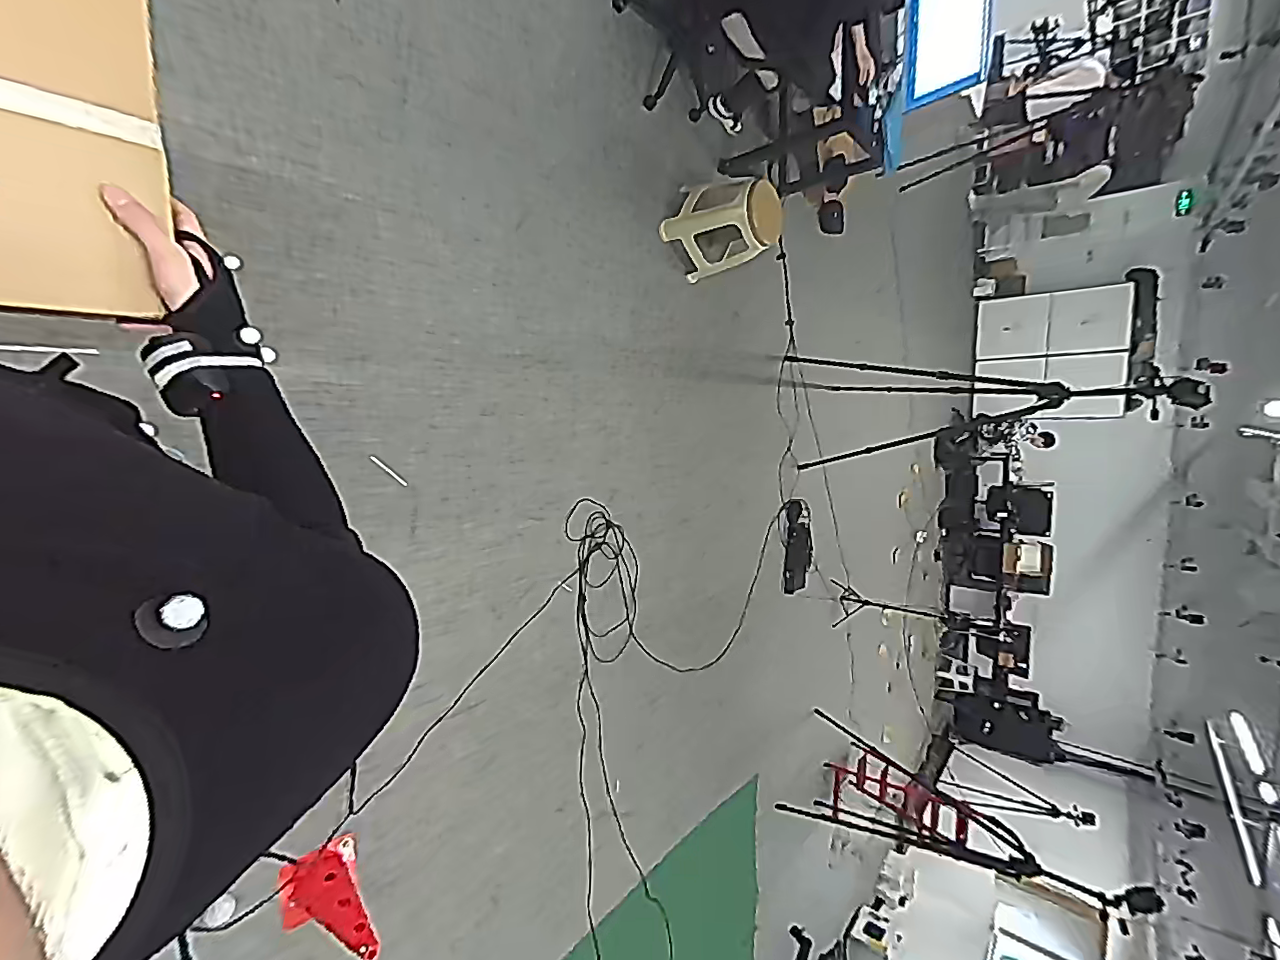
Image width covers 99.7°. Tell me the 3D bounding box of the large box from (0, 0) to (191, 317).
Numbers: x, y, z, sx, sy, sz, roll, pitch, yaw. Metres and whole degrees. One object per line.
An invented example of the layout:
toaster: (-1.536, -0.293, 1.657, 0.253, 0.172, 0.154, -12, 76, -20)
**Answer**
large box: (-0.674, -0.309, 0.439, 0.408, 0.320, 0.320, -12, 110, -49)
